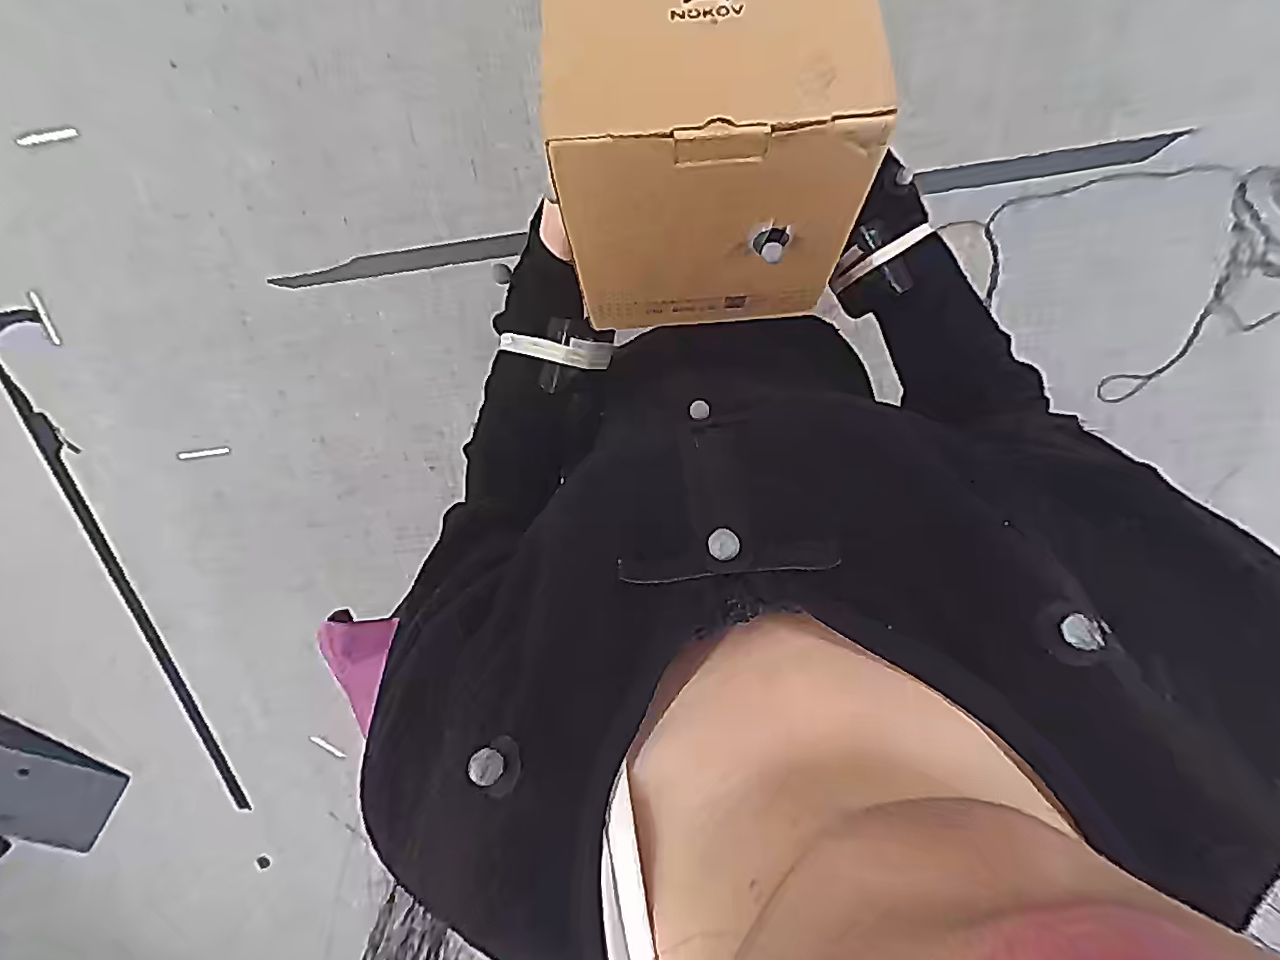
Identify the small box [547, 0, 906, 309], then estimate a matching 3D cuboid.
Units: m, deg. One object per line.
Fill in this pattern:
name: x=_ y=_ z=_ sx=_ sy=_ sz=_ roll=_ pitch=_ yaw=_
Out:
small box: x=0.039 y=-0.224 z=0.343 sx=0.168 sy=0.176 sz=0.179 roll=-3 pitch=74 yaw=1
